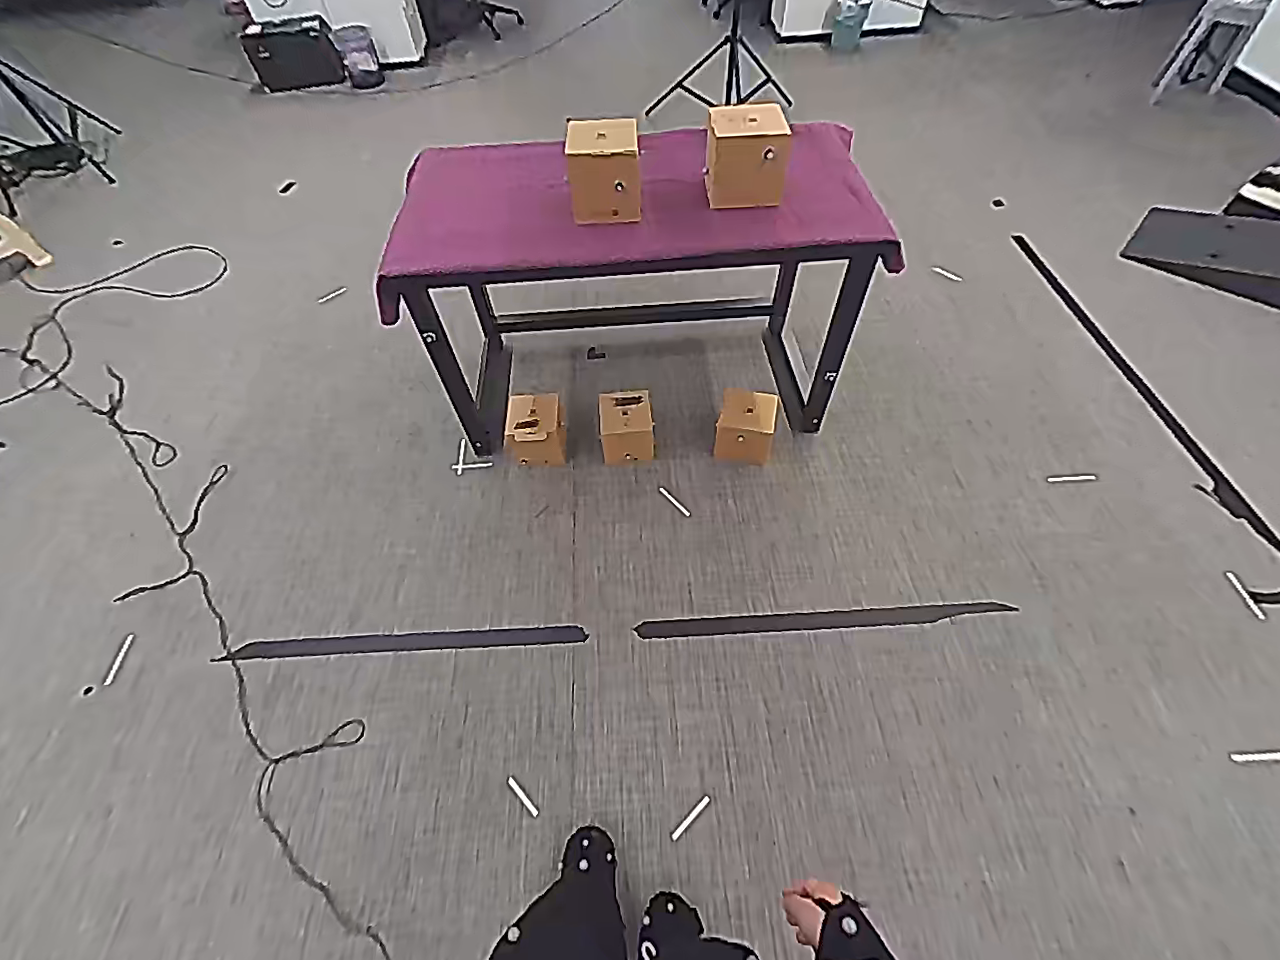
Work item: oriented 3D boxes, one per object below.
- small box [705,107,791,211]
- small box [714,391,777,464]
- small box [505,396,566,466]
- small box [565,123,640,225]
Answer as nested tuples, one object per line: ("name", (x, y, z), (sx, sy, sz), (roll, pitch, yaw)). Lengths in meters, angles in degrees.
("small box", (0.258, -0.790, 1.336), (0.179, 0.176, 0.168), (-3, 54, 1))
("small box", (0.347, -0.170, 1.792), (0.179, 0.176, 0.168), (9, 57, 10))
("small box", (-0.345, -0.159, 1.813), (0.168, 0.176, 0.179), (-3, 54, 0))
("small box", (-0.087, -0.742, 1.320), (0.168, 0.176, 0.179), (-2, 53, 0))
